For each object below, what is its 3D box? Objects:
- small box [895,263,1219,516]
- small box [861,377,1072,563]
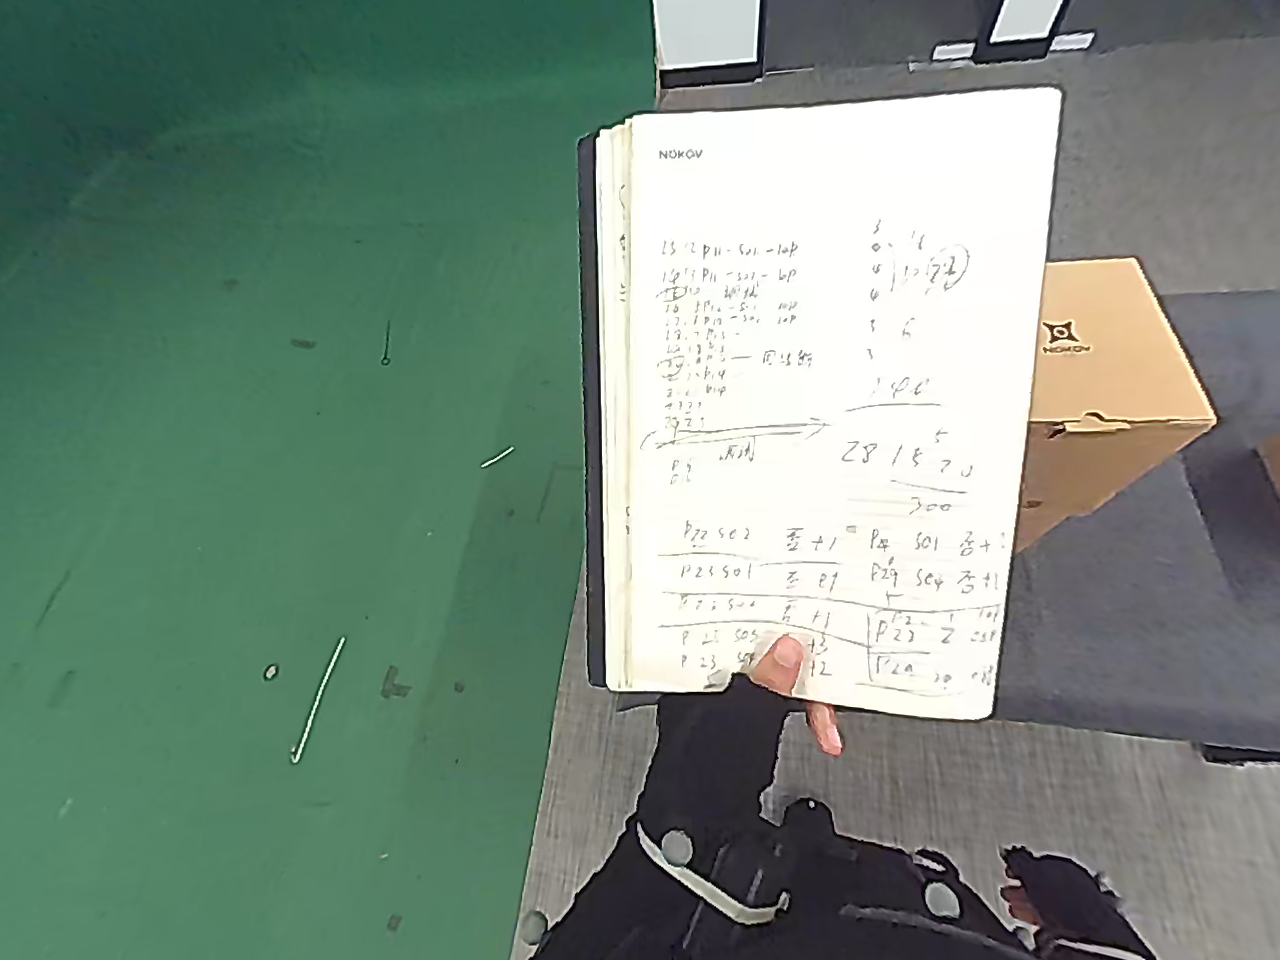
[{"bbox_3d":[0.364,-0.080,0.521,0.168,0.176,0.179,-1,62,8],"label":"small box"},{"bbox_3d":[0.385,-0.010,0.667,0.168,0.176,0.179,-2,61,8],"label":"small box"}]
